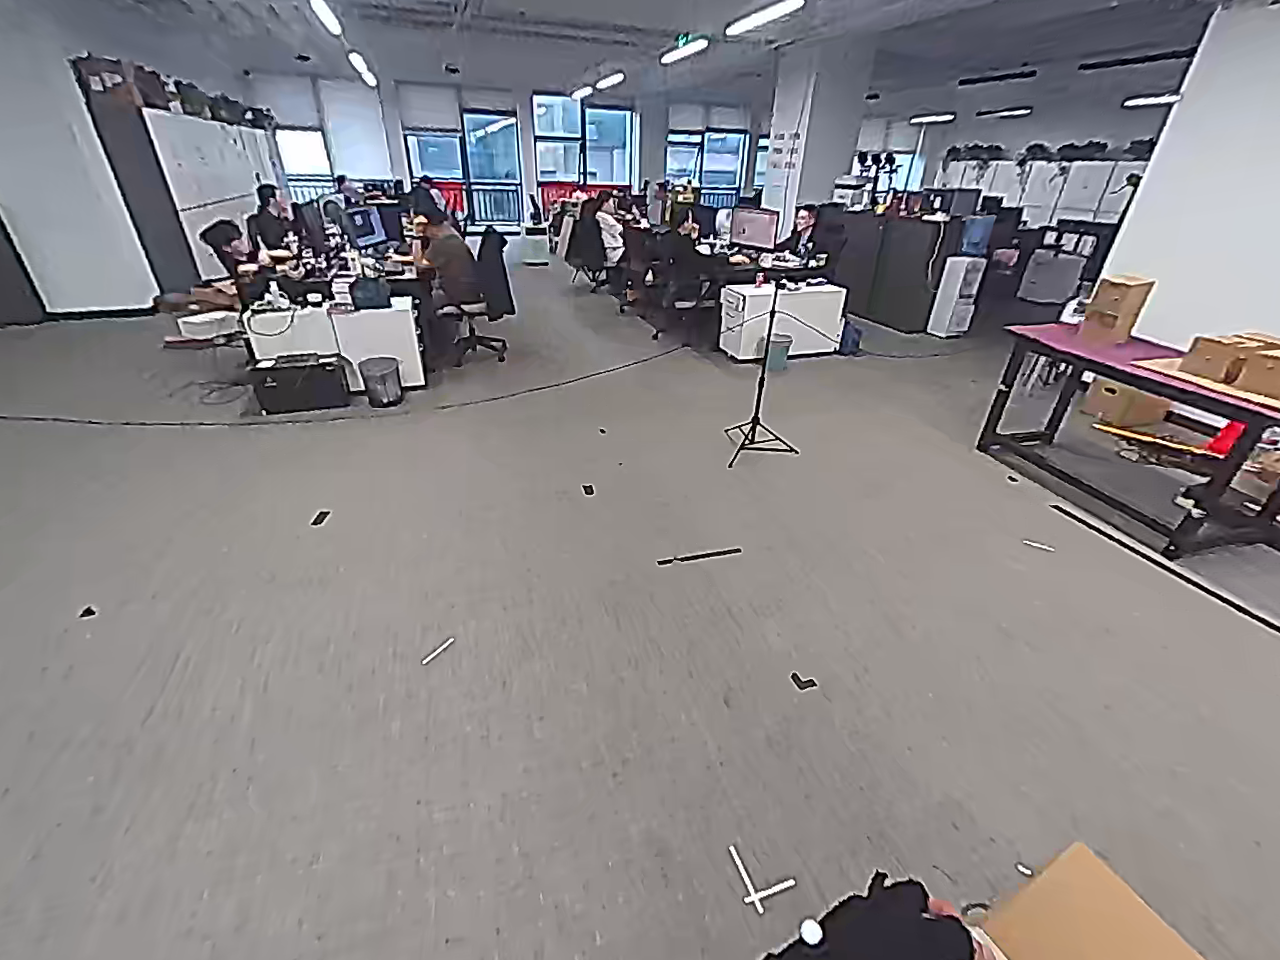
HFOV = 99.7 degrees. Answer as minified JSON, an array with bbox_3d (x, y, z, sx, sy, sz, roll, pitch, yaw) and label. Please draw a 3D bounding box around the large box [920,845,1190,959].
[{"bbox_3d":[0.349,0.595,0.387,0.320,0.320,0.408,-15,39,-24],"label":"large box"}]
